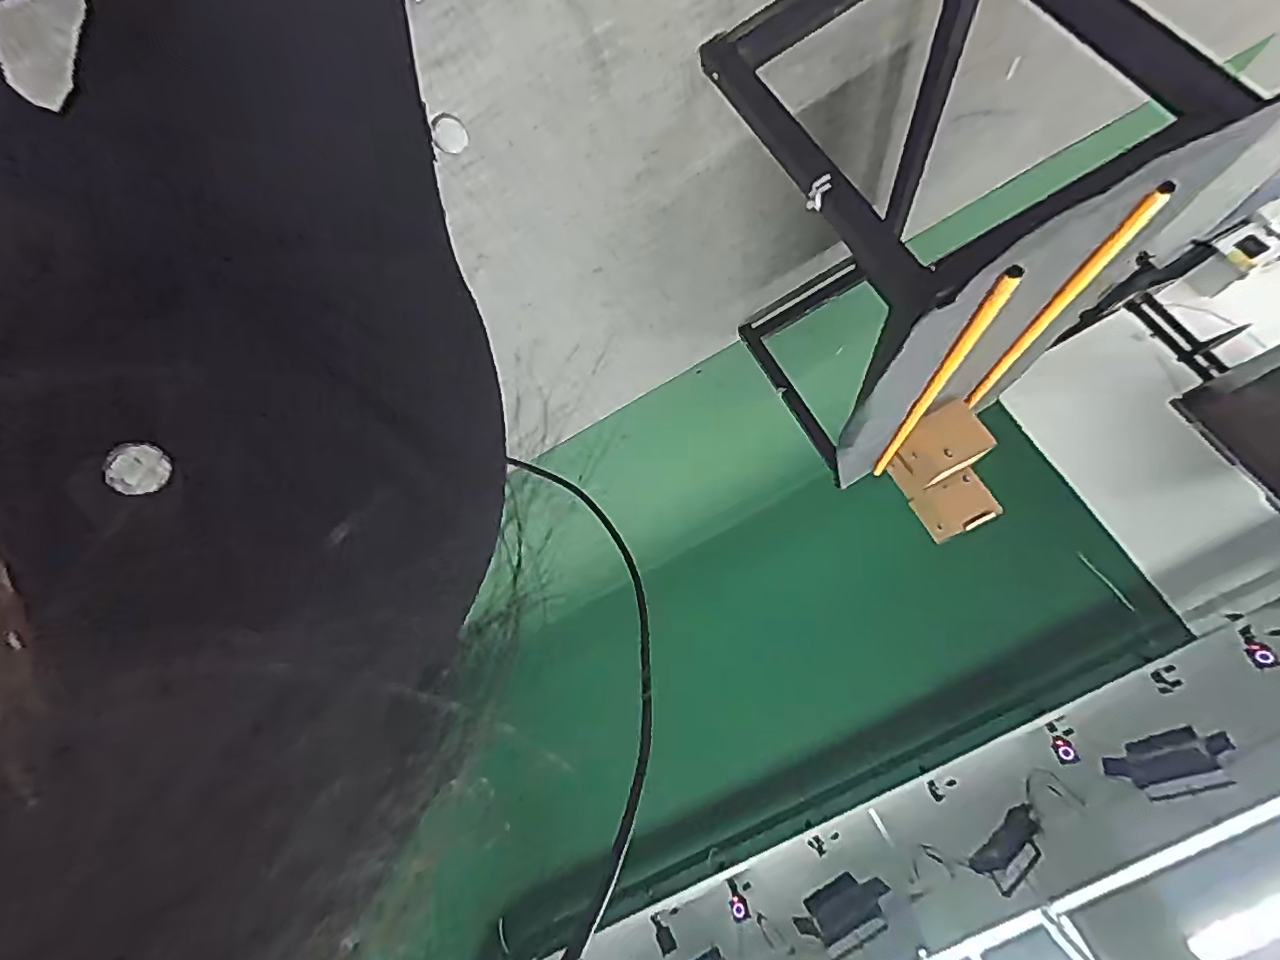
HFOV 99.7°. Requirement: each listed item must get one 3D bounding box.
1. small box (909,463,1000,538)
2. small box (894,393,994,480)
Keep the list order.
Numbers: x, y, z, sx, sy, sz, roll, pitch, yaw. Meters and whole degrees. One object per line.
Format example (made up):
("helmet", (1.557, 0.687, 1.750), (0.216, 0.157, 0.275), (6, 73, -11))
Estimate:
("small box", (1.021, 0.065, 1.776), (0.168, 0.176, 0.179), (-27, 161, 1))
("small box", (0.895, -0.128, 1.614), (0.179, 0.176, 0.168), (-29, 161, 3))
